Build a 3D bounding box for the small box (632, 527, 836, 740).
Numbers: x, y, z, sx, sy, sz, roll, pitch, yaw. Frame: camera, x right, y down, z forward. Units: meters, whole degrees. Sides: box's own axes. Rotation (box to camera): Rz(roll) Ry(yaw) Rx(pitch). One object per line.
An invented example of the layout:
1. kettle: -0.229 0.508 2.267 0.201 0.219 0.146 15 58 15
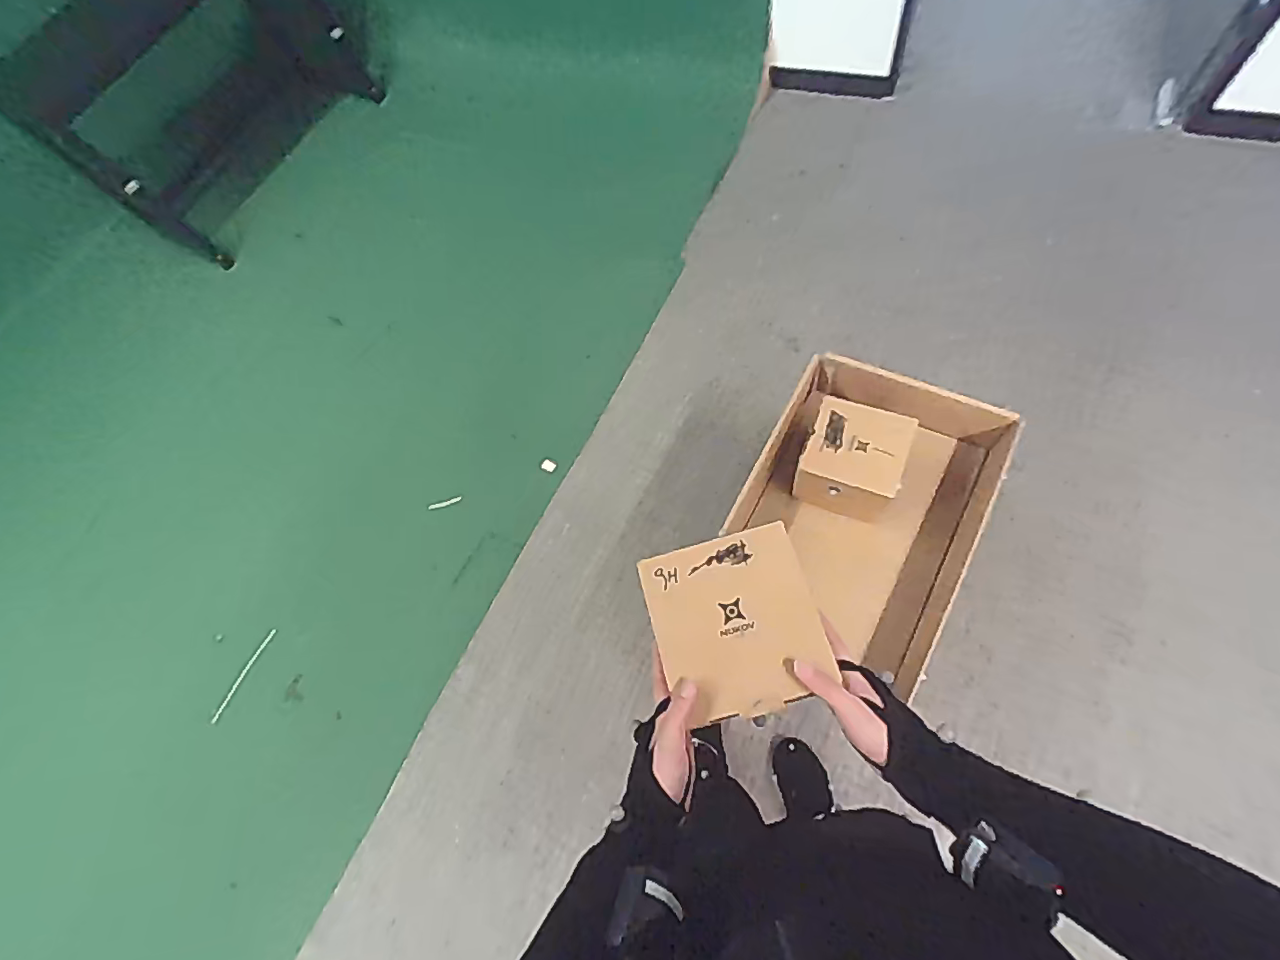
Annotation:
1. small box: 0.101 0.175 0.614 0.168 0.176 0.179 -17 67 3
